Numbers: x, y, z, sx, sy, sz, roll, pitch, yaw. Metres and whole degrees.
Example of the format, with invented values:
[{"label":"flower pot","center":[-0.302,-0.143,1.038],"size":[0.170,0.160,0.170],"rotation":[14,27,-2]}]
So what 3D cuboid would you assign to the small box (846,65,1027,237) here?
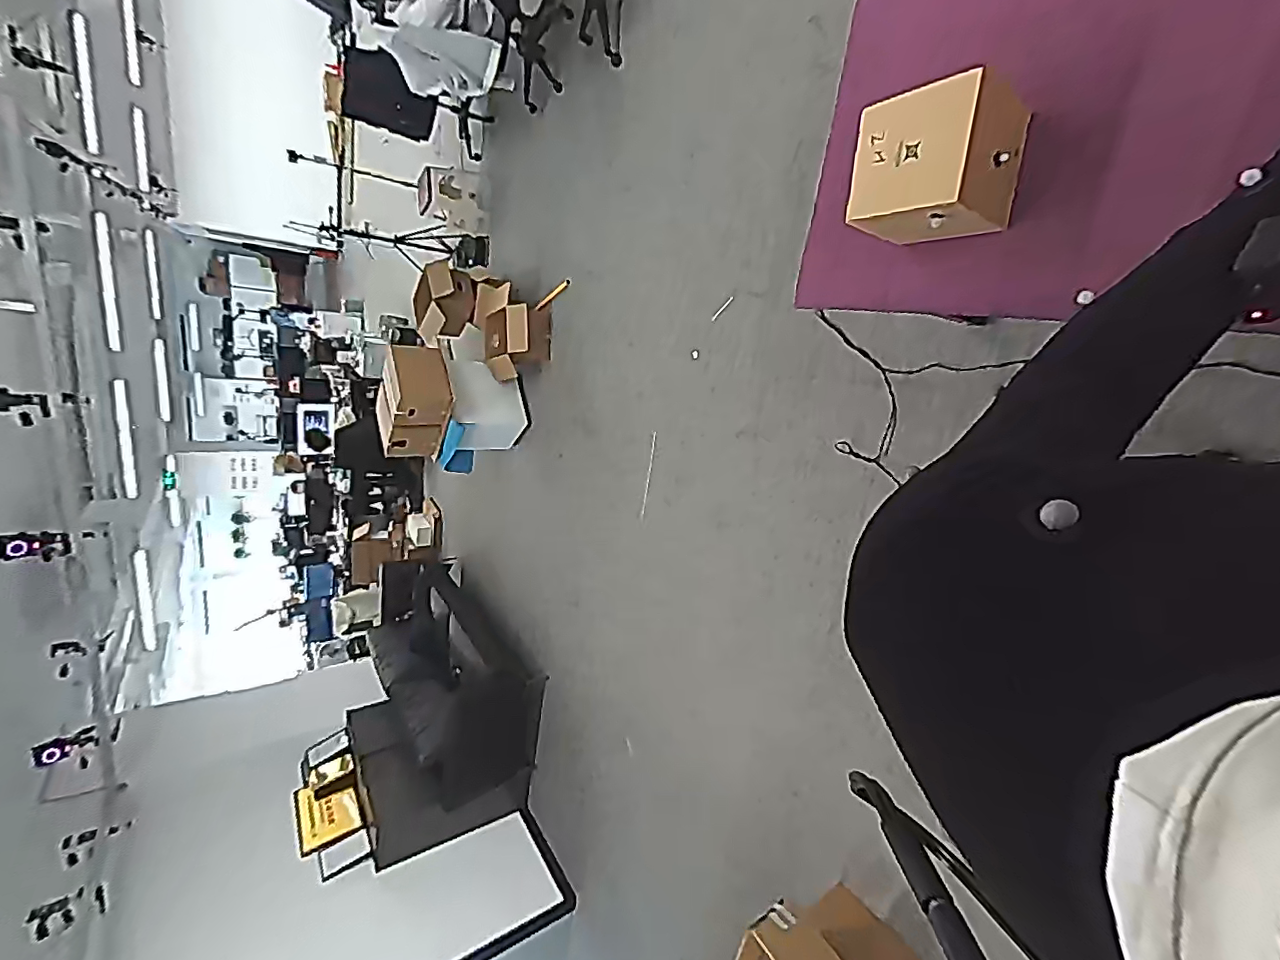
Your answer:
[{"label":"small box","center":[0.450,-0.482,0.824],"size":[0.179,0.176,0.168],"rotation":[21,109,52]}]
